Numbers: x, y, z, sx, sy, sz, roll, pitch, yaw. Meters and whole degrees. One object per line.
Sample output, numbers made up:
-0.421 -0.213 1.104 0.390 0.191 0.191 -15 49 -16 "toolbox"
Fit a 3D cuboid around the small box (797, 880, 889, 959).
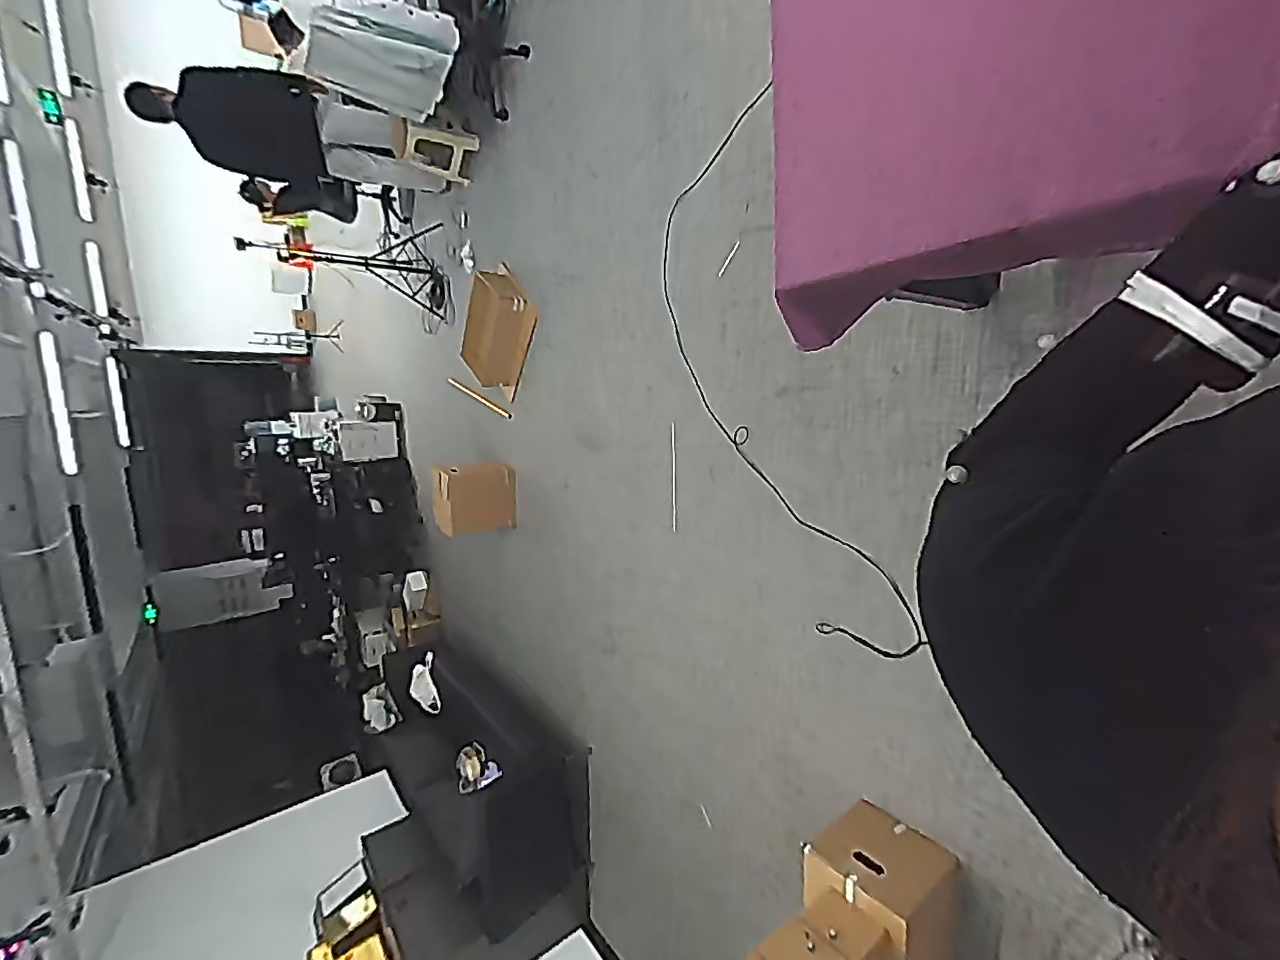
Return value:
0.549 1.242 1.469 0.179 0.176 0.168 7 102 51 "small box"
